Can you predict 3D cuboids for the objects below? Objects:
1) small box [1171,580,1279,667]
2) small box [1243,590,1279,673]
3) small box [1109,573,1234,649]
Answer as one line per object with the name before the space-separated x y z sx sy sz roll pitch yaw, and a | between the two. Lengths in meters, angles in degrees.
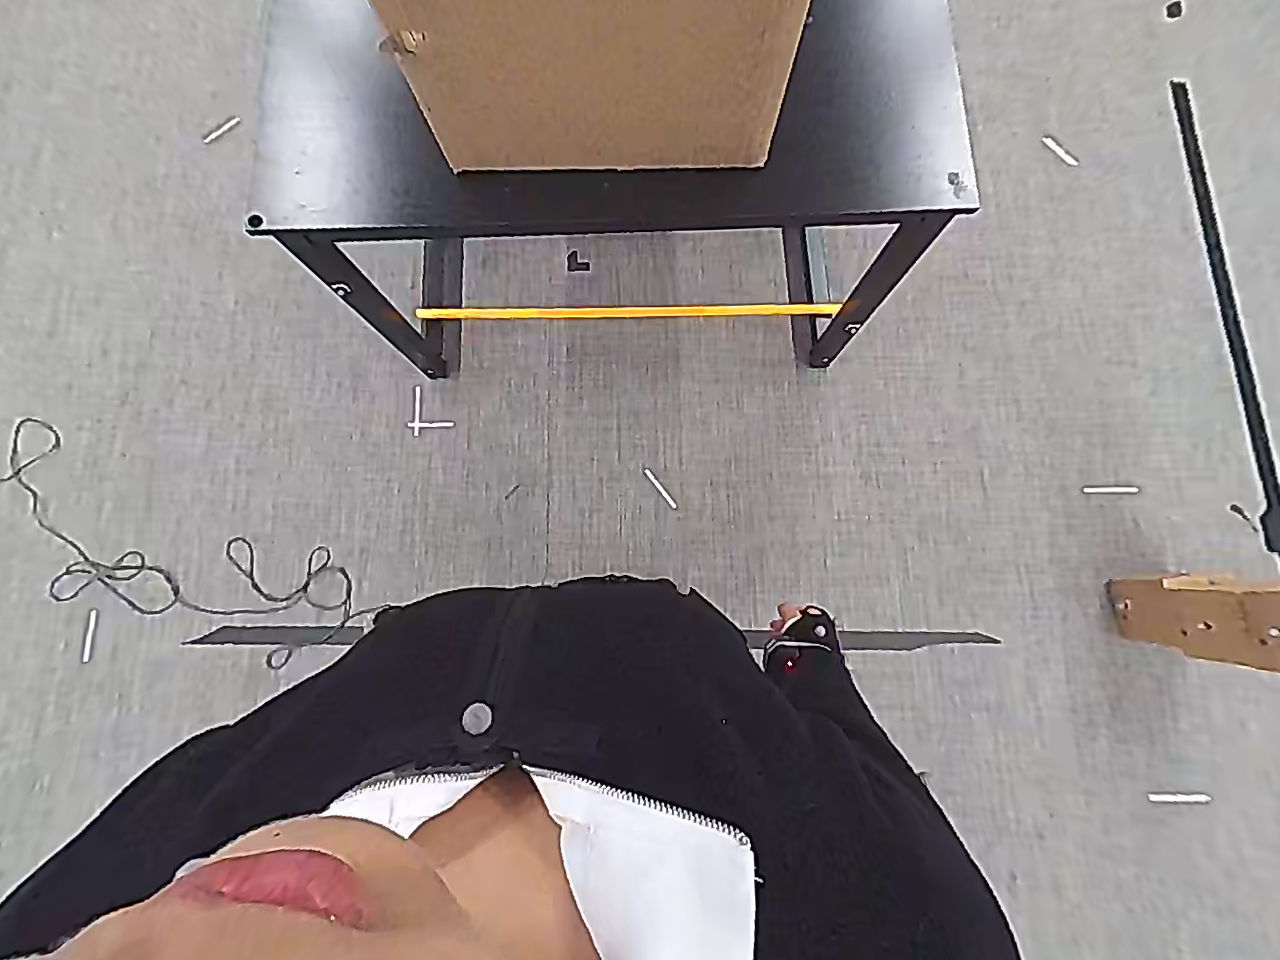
small box | 1.368 0.319 1.222 0.179 0.176 0.168 -8 80 0
small box | 1.369 0.298 1.058 0.179 0.176 0.168 -3 79 1
small box | 1.371 0.330 1.386 0.179 0.176 0.168 -7 79 1
